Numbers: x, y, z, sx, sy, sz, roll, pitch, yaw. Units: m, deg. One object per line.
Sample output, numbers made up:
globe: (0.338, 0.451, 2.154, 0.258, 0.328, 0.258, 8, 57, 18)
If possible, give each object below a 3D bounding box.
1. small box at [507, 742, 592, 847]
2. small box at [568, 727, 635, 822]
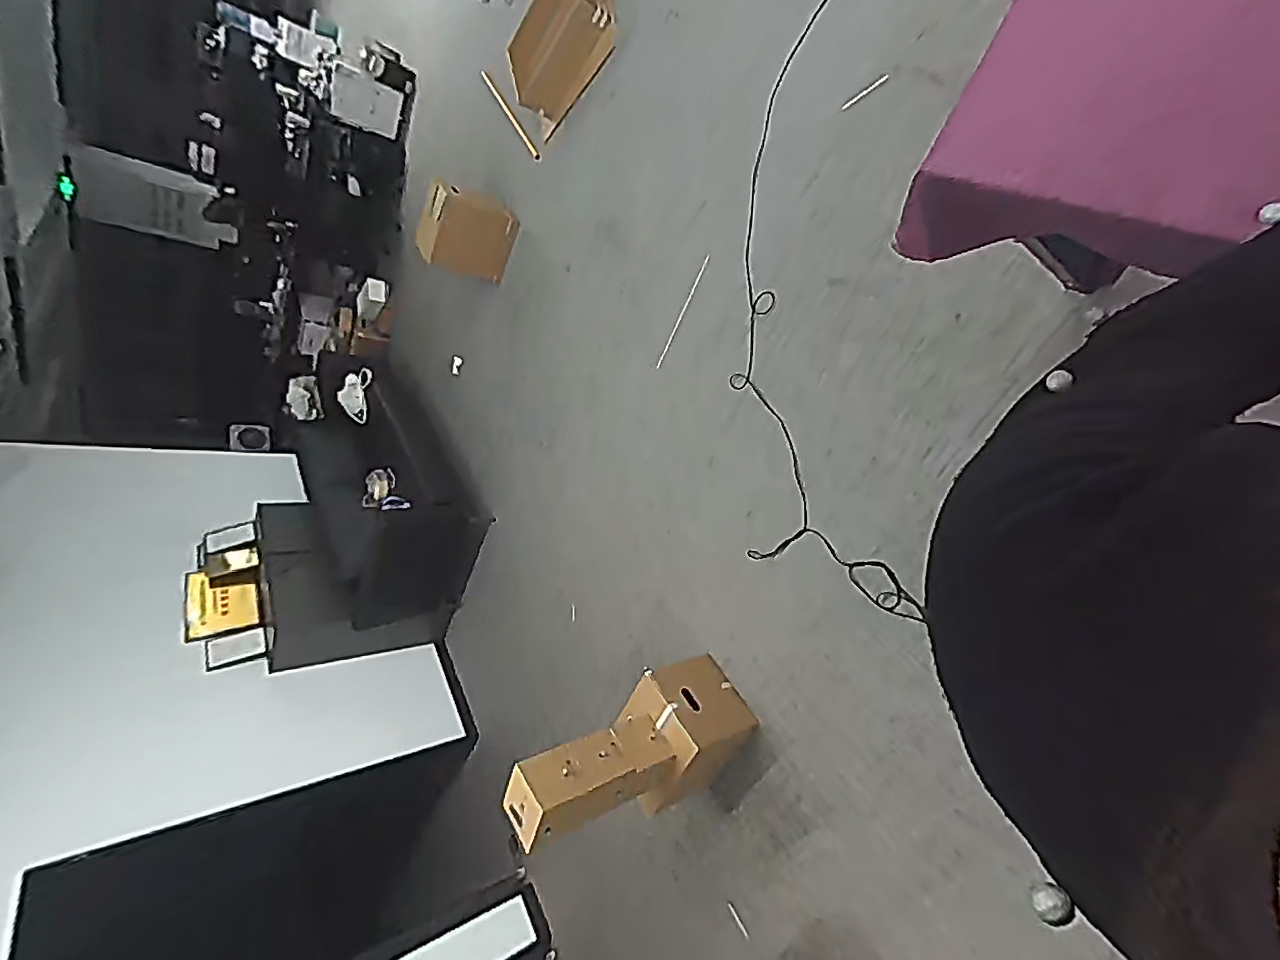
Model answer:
small box: (-0.262, 0.909, 1.576, 0.168, 0.176, 0.179, 38, 117, 41)
small box: (-0.138, 0.907, 1.685, 0.168, 0.176, 0.179, 39, 117, 41)
